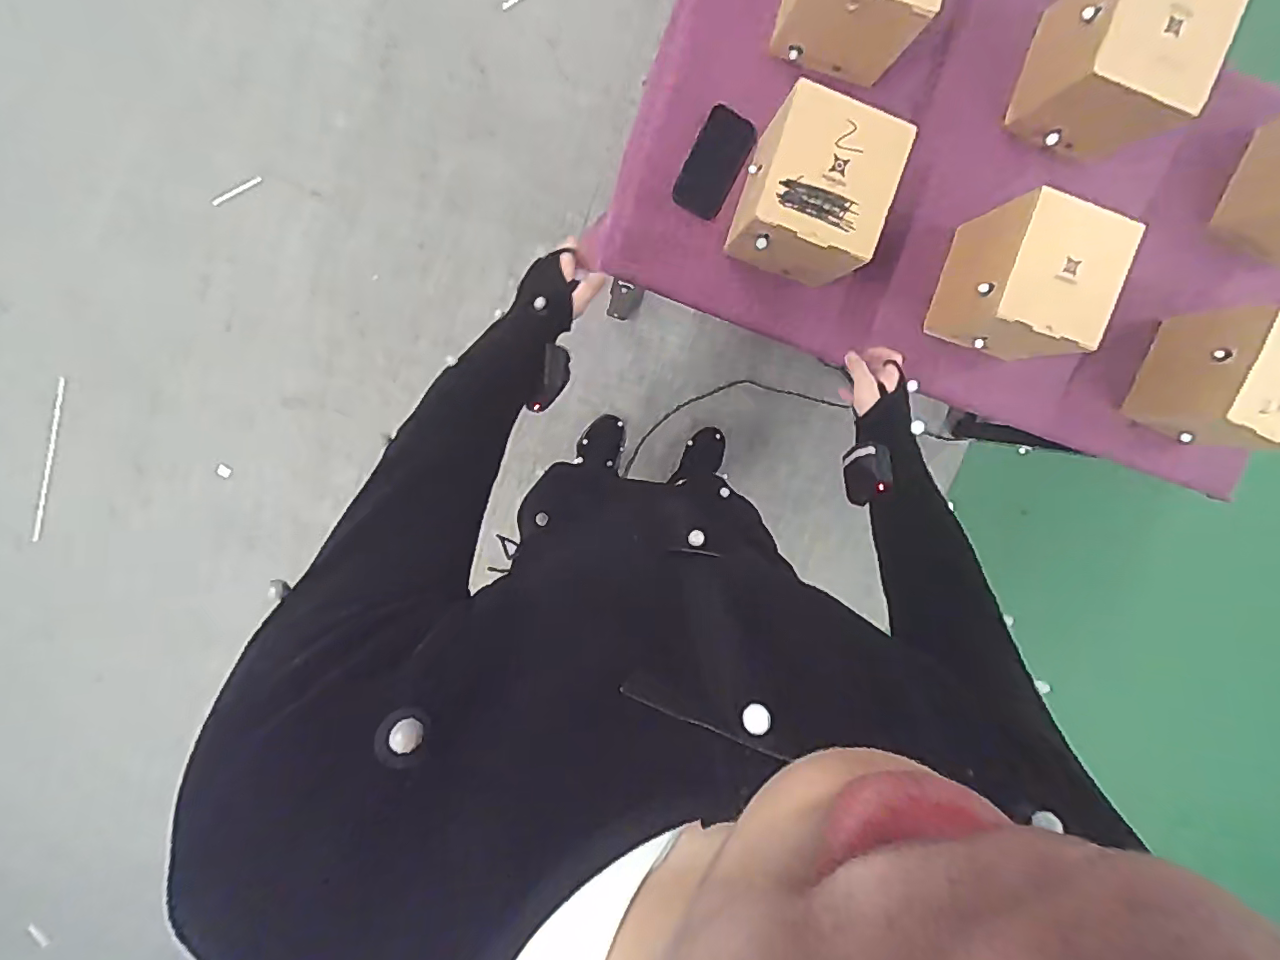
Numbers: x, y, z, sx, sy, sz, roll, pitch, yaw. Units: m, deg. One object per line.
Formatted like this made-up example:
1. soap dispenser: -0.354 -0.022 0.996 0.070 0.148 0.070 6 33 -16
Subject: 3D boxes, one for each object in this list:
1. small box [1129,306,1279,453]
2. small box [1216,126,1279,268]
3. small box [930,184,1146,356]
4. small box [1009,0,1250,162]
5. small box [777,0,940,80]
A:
1. small box: 0.944 -0.155 0.855 0.168 0.176 0.179 20 97 -6
2. small box: 1.054 -0.450 0.819 0.168 0.176 0.179 20 97 -7
3. small box: 0.572 -0.296 0.803 0.168 0.176 0.179 16 97 -8
4. small box: 0.673 -0.594 0.763 0.168 0.176 0.179 17 98 -7
5. small box: 0.298 -0.682 0.714 0.168 0.176 0.179 14 97 -8
